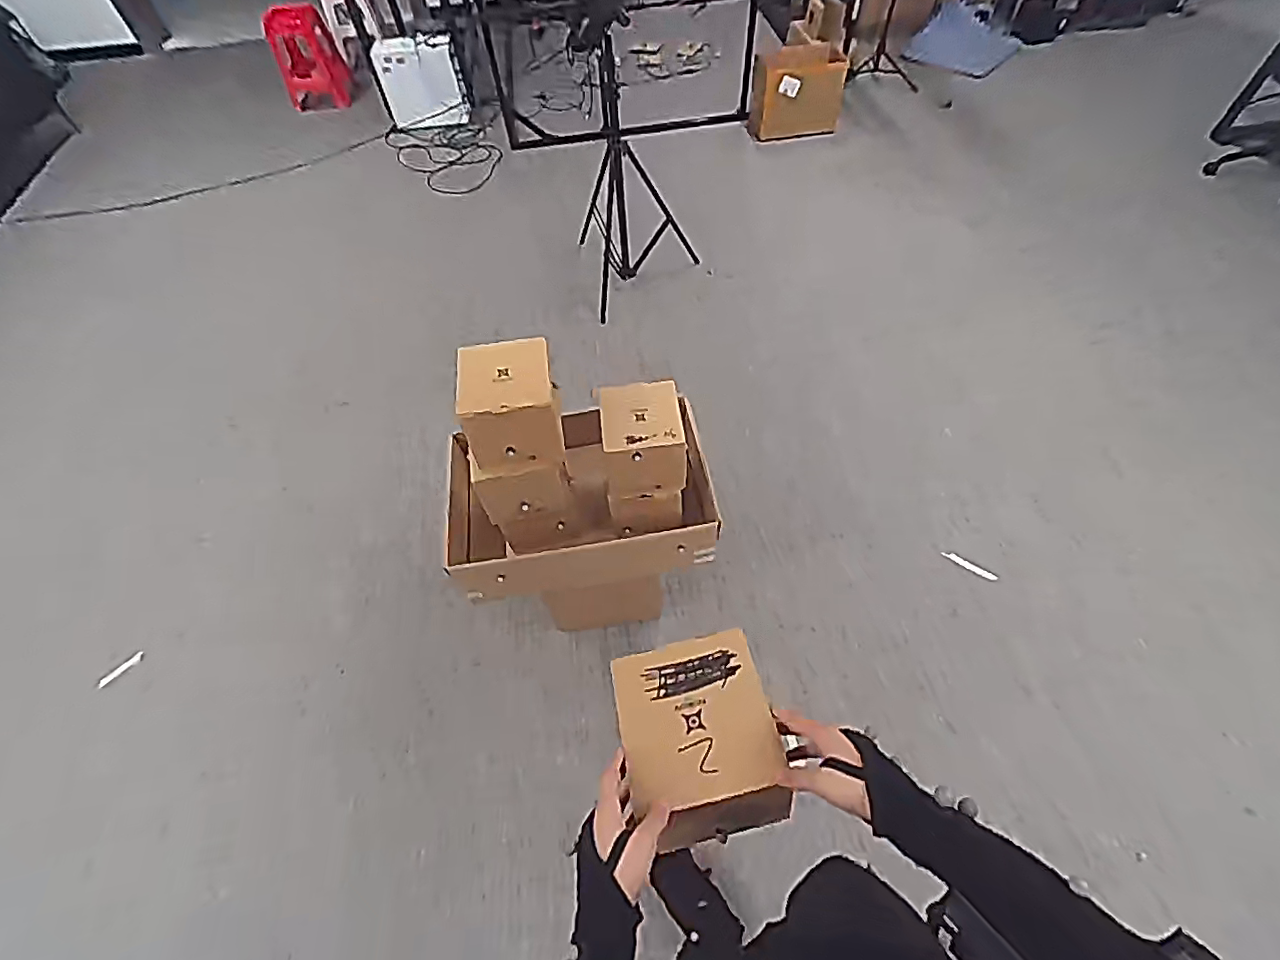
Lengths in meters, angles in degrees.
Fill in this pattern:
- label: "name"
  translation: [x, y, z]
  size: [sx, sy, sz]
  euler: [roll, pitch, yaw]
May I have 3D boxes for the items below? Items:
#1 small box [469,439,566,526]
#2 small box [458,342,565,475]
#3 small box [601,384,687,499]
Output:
- label: "small box"
  translation: [-0.260, -0.026, 1.157]
  size: [0.168, 0.176, 0.179]
  euler: [-12, 57, -6]
- label: "small box"
  translation: [-0.242, -0.134, 1.033]
  size: [0.168, 0.176, 0.179]
  euler: [-10, 56, -5]
- label: "small box"
  translation: [0.008, -0.082, 1.172]
  size: [0.168, 0.176, 0.179]
  euler: [-7, 55, 0]
